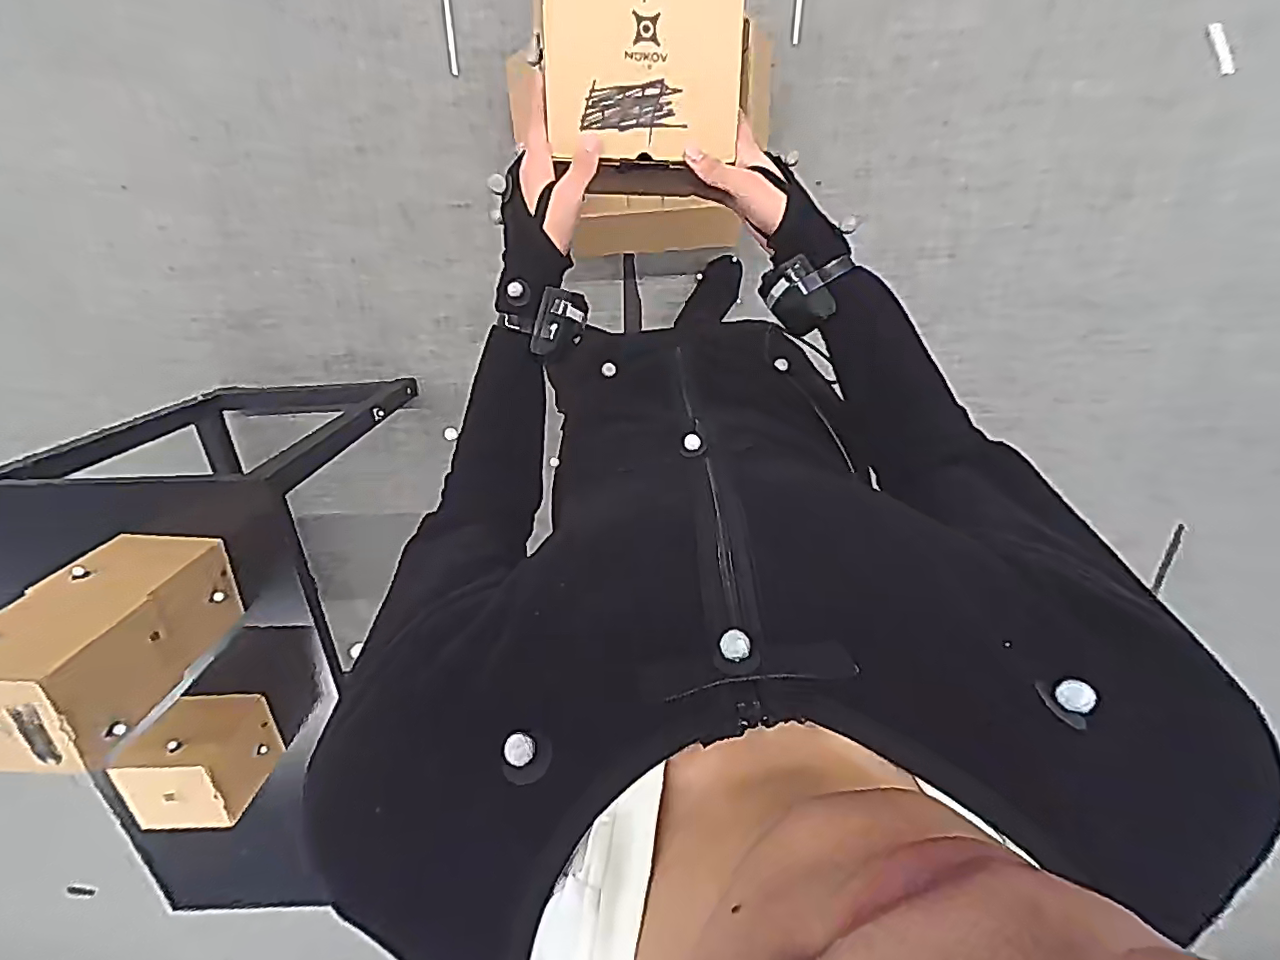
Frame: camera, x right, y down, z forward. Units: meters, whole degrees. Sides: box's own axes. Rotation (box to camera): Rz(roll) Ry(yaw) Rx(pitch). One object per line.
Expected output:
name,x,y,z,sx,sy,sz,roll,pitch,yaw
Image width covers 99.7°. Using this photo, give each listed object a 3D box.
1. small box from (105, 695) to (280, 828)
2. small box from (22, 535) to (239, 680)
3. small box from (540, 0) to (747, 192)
small box,-0.852,0.541,1.051,0.179,0.176,0.168,-2,114,0
small box,-0.822,0.204,0.895,0.179,0.176,0.168,3,115,-2
small box,-0.007,-0.378,0.503,0.168,0.176,0.179,-3,109,-9
